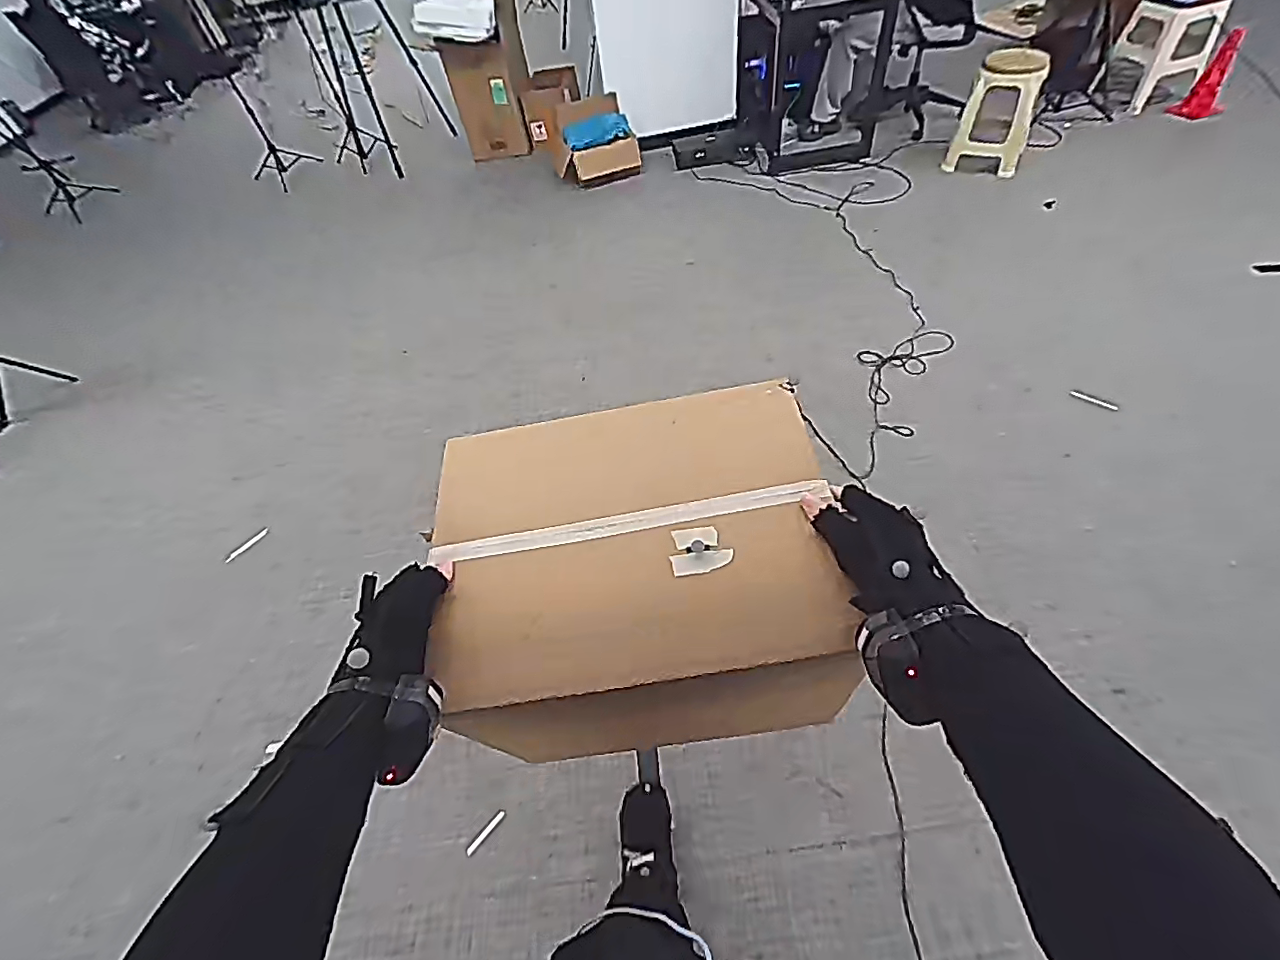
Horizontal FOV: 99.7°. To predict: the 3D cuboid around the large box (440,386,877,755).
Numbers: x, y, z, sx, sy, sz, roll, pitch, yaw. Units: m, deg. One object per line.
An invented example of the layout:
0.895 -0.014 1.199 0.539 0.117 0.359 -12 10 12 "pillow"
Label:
0.015 0.129 0.682 0.408 0.320 0.320 -10 55 3 "large box"
